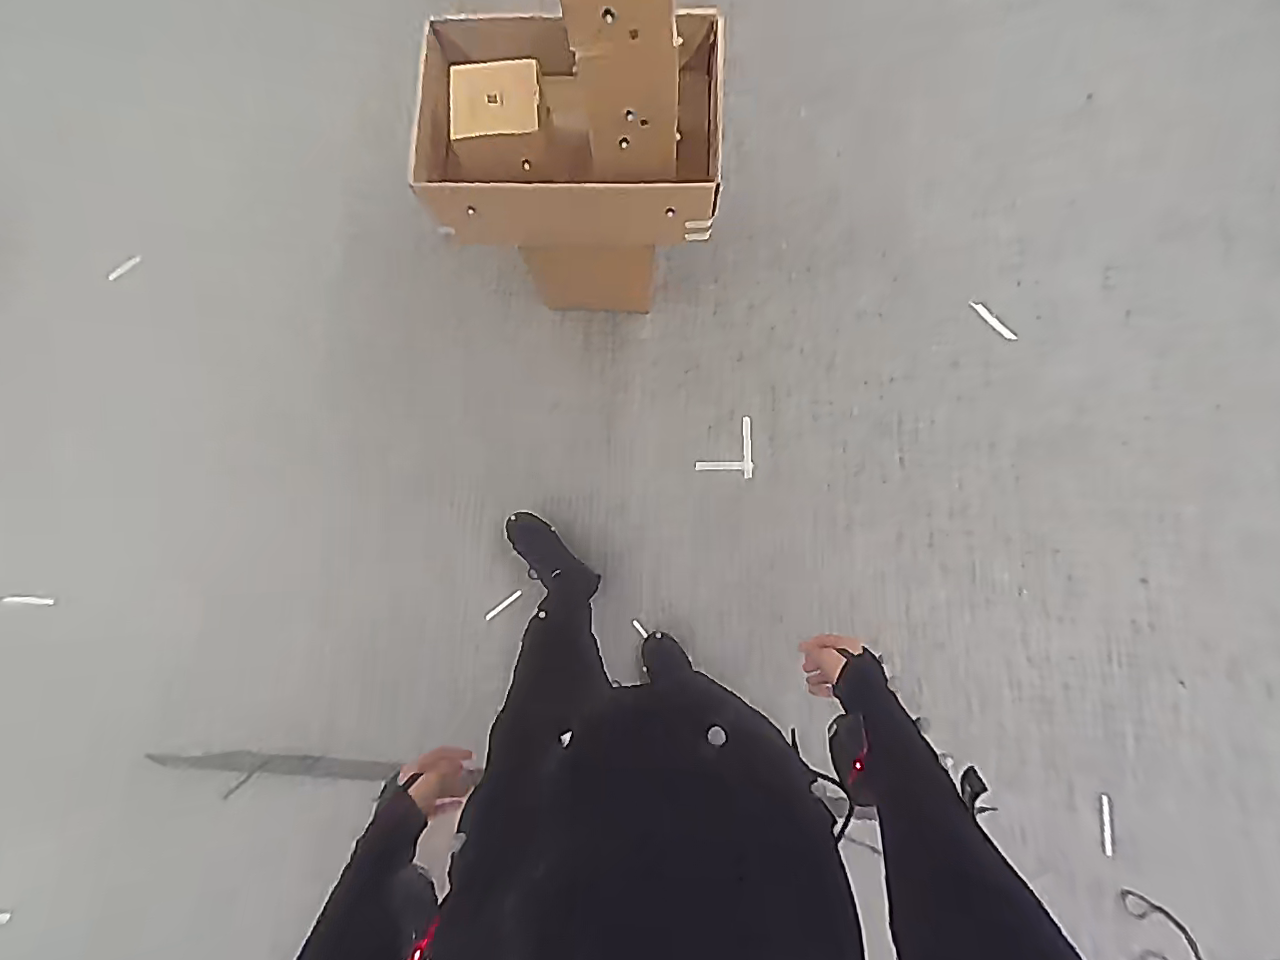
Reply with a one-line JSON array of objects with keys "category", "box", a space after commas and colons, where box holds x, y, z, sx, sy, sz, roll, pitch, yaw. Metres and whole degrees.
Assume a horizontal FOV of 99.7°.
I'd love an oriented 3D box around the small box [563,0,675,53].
[{"category": "small box", "box": [-0.031, -0.775, 0.788, 0.168, 0.176, 0.179, 0, 82, 4]}]
